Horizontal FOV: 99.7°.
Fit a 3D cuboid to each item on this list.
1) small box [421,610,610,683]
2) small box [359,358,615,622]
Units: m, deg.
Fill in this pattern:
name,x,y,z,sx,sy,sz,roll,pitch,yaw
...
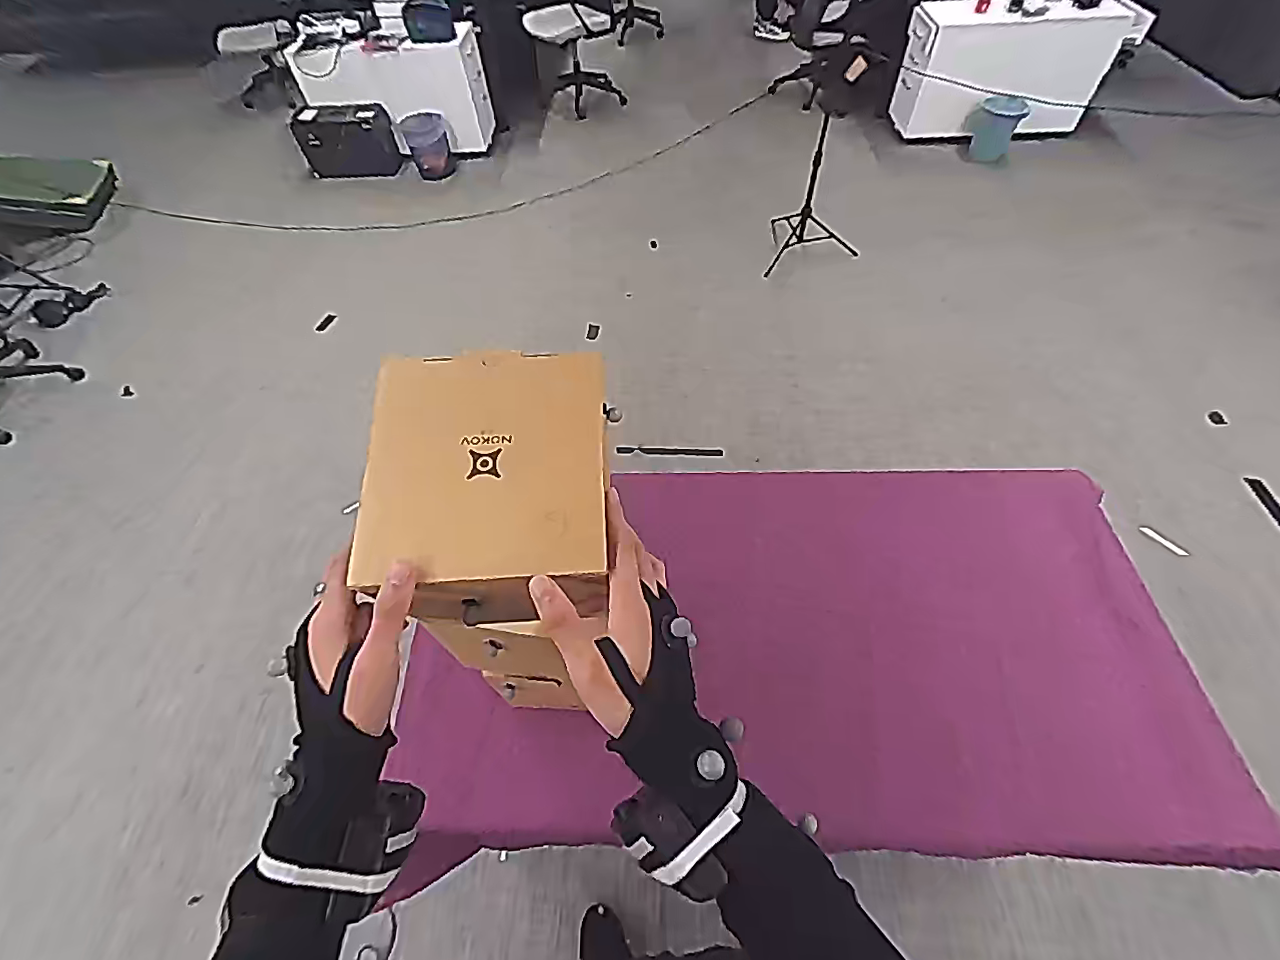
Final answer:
name,x,y,z,sx,sy,sz,roll,pitch,yaw
small box,-0.135,0.142,0.680,0.179,0.176,0.168,7,55,7
small box,-0.107,0.020,0.459,0.168,0.176,0.179,-3,65,-3
